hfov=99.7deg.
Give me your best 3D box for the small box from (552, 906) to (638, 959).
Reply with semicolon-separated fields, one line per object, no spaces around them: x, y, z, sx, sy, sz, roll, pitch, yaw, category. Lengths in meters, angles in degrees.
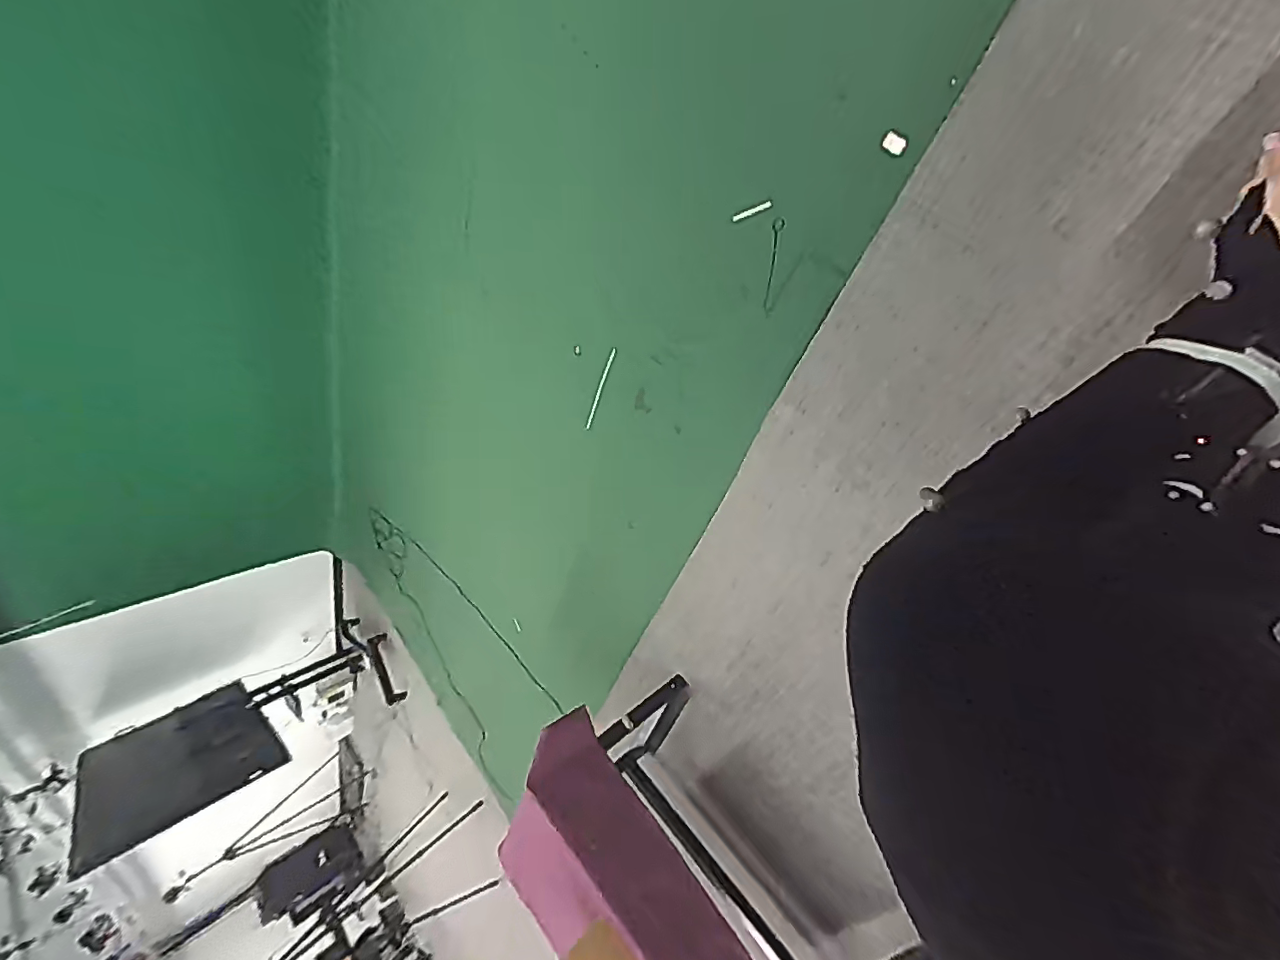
-0.126;1.323;1.474;0.179;0.176;0.168;43;131;27;small box
